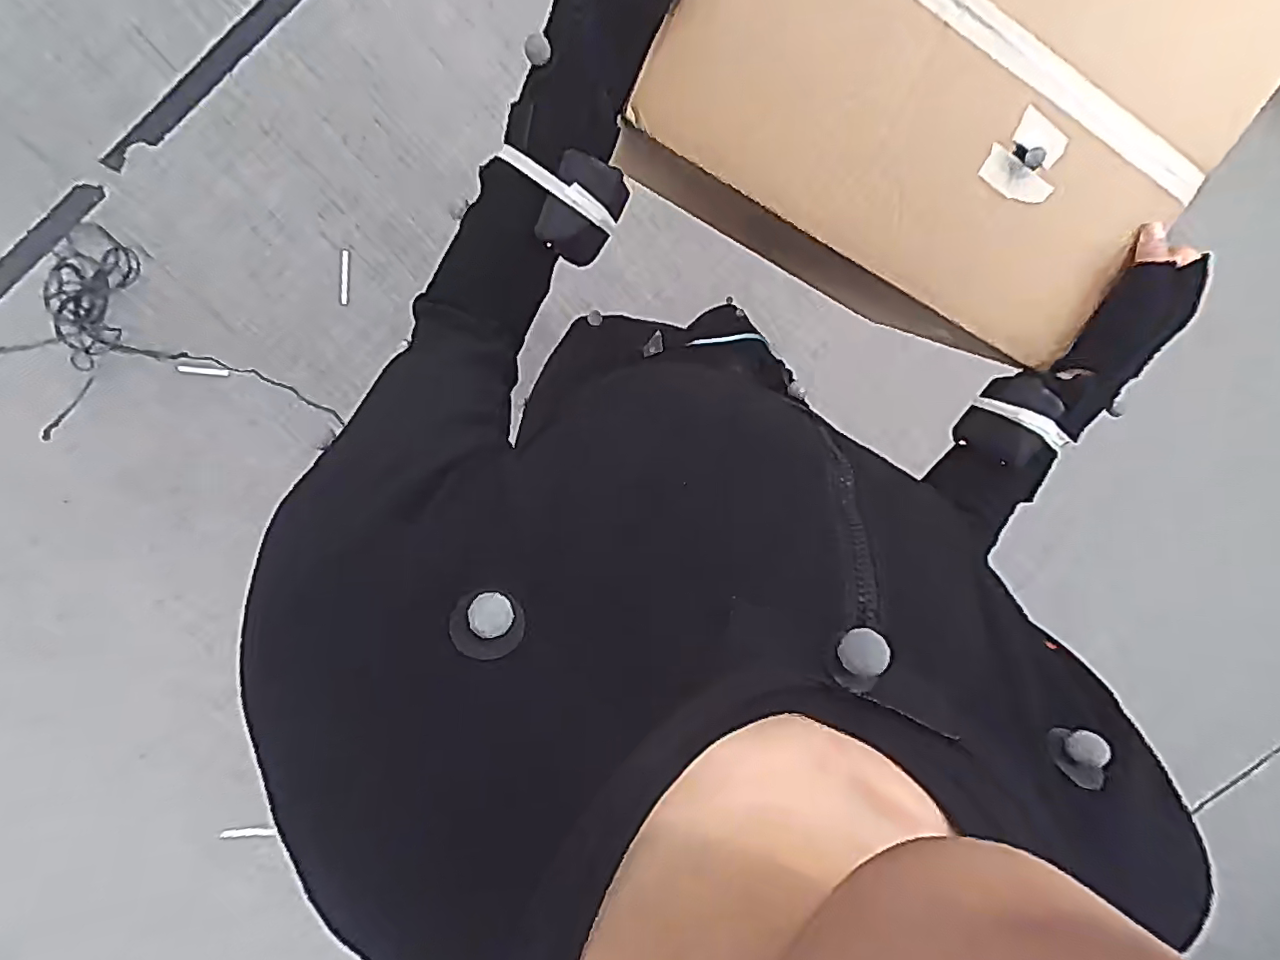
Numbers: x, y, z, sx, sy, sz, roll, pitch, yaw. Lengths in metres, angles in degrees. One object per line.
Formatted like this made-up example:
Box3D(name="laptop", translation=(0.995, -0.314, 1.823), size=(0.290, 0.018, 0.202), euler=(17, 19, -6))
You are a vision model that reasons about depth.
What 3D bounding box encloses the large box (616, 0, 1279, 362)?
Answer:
Box3D(name="large box", translation=(0.224, -0.362, 0.509), size=(0.408, 0.320, 0.320), euler=(23, 112, -15))
